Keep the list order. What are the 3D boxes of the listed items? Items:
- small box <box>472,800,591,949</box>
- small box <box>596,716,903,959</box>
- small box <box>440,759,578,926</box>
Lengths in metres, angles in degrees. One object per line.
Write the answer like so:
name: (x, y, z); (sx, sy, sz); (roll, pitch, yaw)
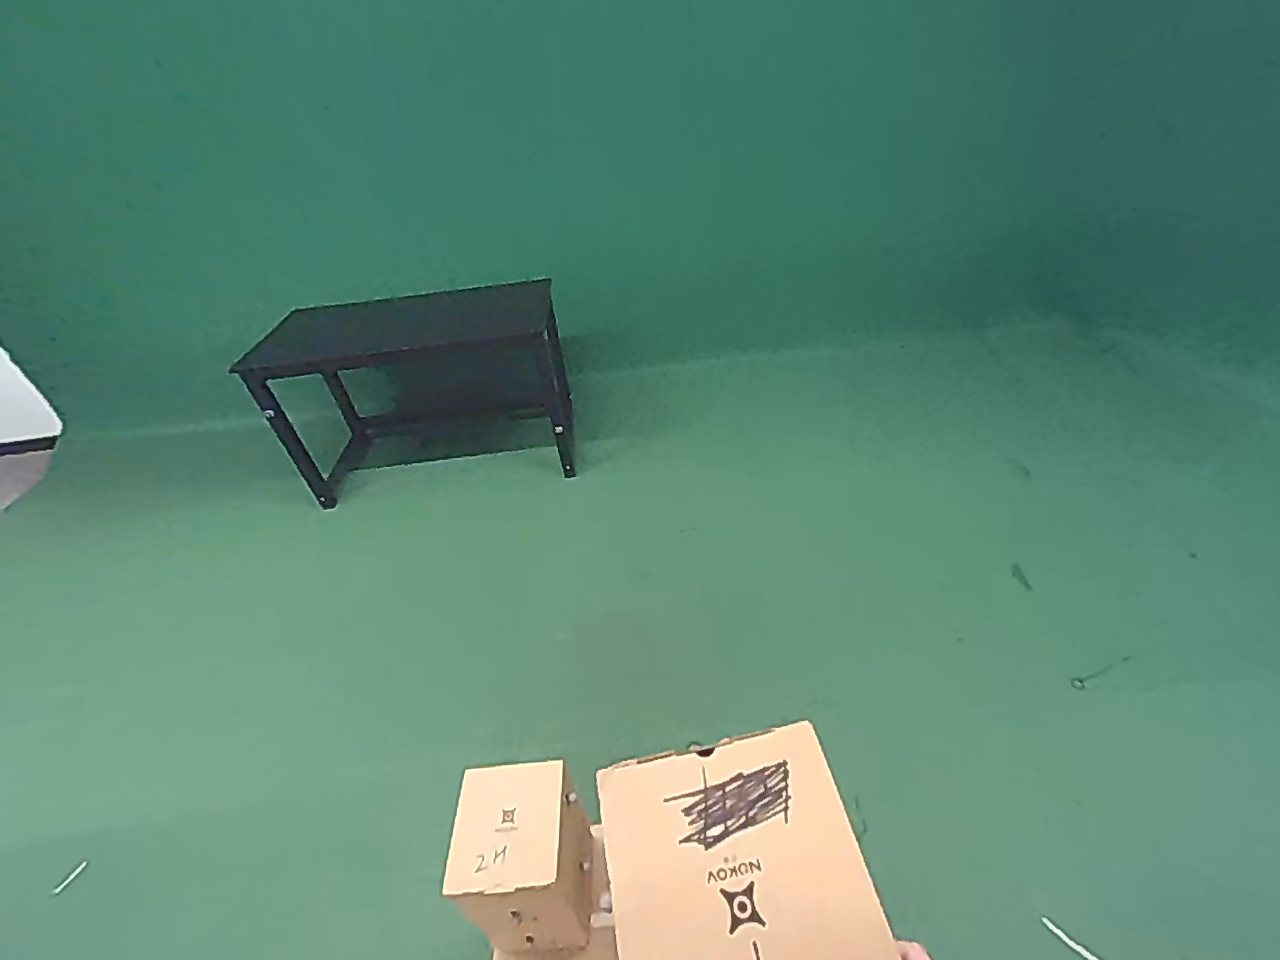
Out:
small box: (-0.183, 0.706, 0.970); (0.168, 0.176, 0.179); (-5, 38, 2)
small box: (0.069, 0.302, 0.398); (0.168, 0.176, 0.179); (-12, 51, -2)
small box: (-0.196, 0.578, 0.866); (0.168, 0.176, 0.179); (-6, 38, 1)
